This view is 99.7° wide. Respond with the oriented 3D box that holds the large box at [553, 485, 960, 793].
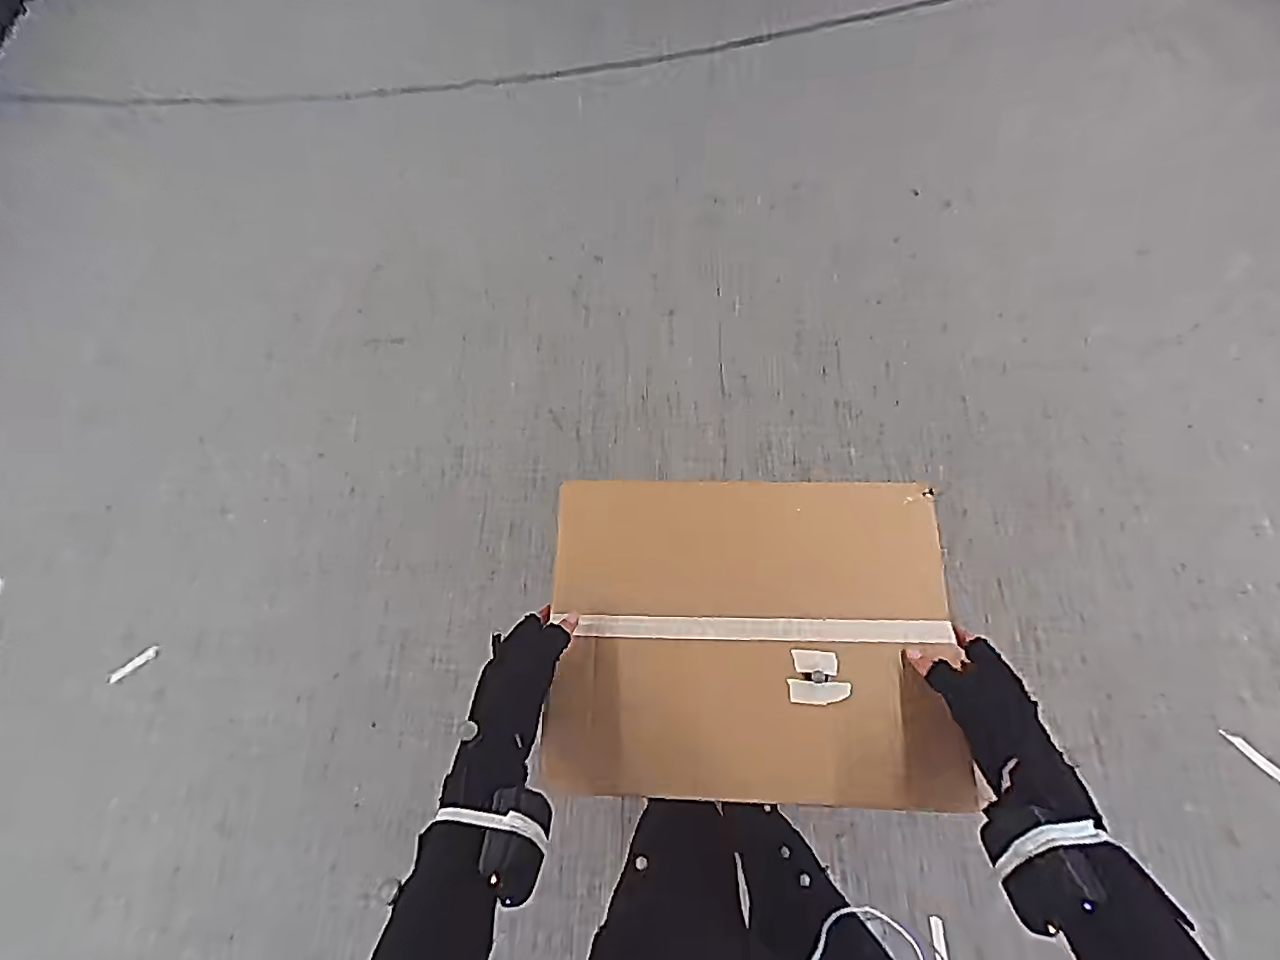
[{"bbox_3d":[0.119,0.200,0.713,0.408,0.320,0.320,0,72,4],"label":"large box"}]
